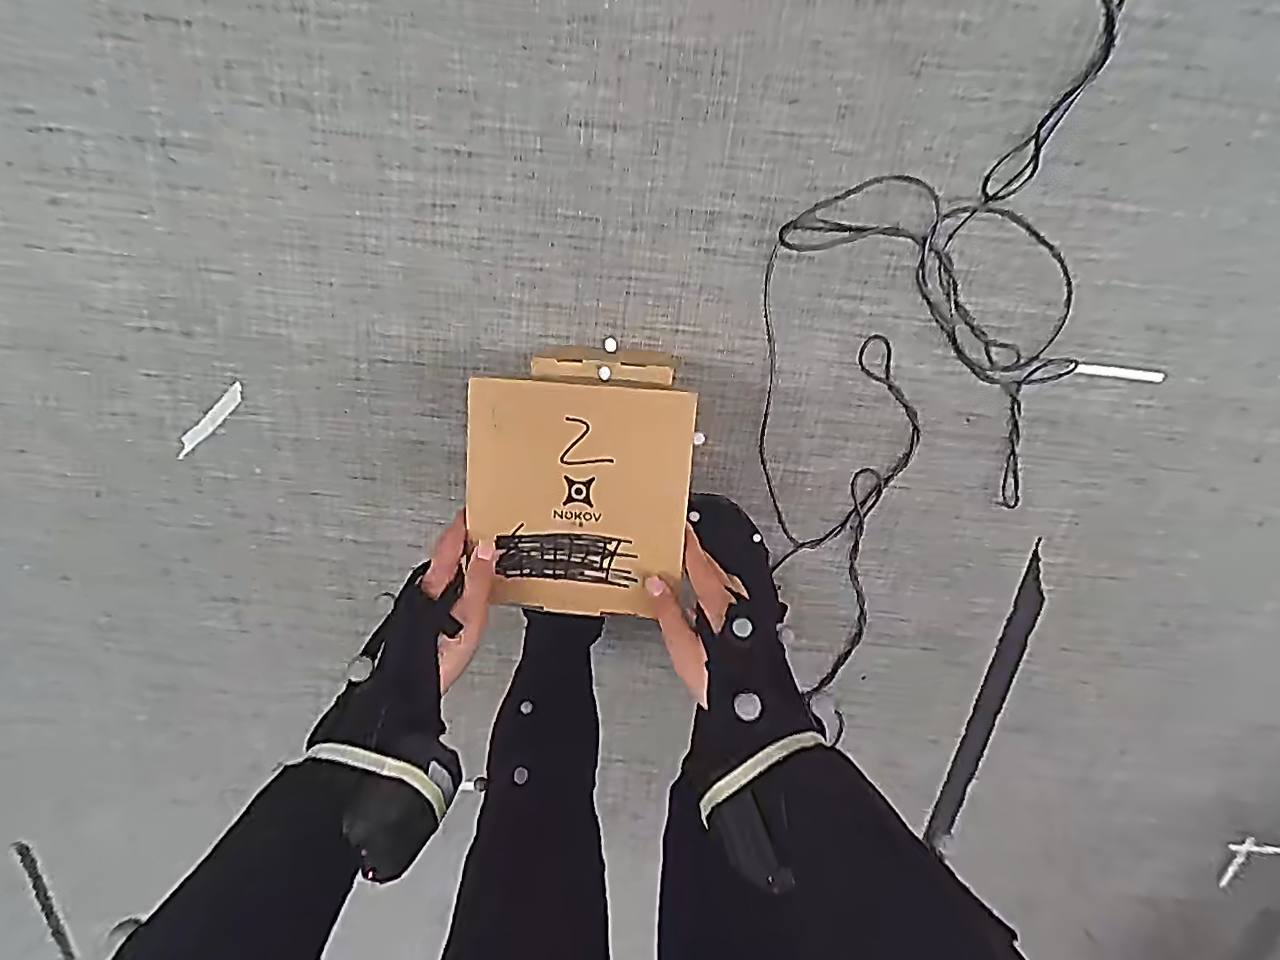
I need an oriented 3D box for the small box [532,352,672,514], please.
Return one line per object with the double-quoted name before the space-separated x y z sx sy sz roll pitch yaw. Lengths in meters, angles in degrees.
"small box" -0.046 -0.071 0.726 0.168 0.176 0.179 3 108 0
